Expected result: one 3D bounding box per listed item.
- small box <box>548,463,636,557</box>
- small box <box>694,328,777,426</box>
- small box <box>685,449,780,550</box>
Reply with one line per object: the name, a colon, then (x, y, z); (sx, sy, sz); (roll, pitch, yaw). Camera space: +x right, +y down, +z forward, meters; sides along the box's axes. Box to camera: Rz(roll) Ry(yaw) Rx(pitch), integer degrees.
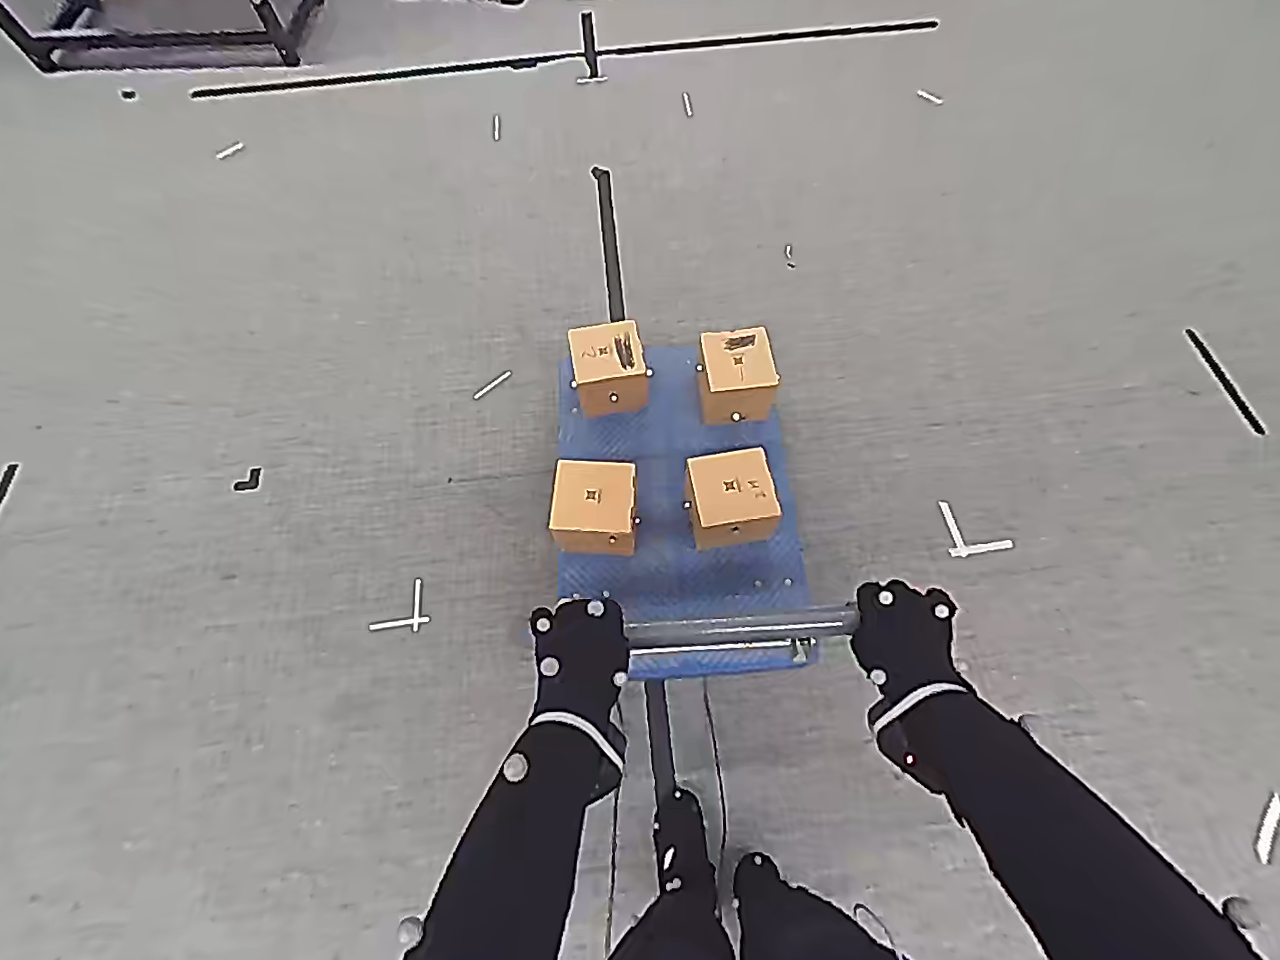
small box: (-0.103, 0.072, 1.236); (0.179, 0.176, 0.168); (2, 65, 1)
small box: (0.234, -0.257, 1.375); (0.168, 0.176, 0.179); (-7, 67, -1)
small box: (0.201, 0.051, 1.237); (0.179, 0.176, 0.168); (-9, 66, -2)
